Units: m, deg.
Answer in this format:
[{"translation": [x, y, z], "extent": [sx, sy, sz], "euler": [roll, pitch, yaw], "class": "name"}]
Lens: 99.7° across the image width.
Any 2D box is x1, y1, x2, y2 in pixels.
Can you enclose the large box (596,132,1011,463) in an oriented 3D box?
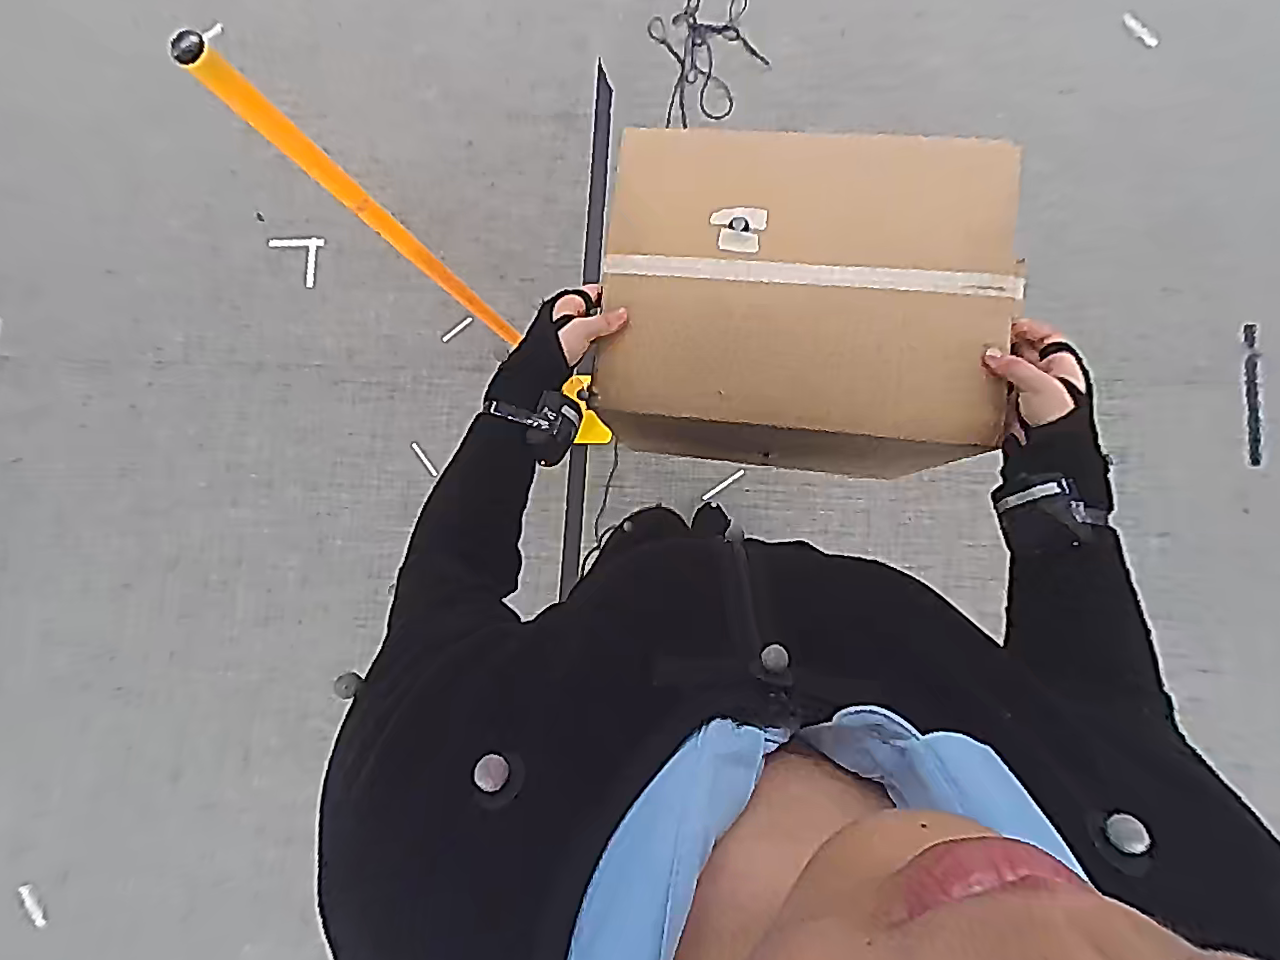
[{"translation": [0.185, -0.201, 0.704], "extent": [0.408, 0.320, 0.320], "euler": [6, 85, 9], "class": "large box"}]
